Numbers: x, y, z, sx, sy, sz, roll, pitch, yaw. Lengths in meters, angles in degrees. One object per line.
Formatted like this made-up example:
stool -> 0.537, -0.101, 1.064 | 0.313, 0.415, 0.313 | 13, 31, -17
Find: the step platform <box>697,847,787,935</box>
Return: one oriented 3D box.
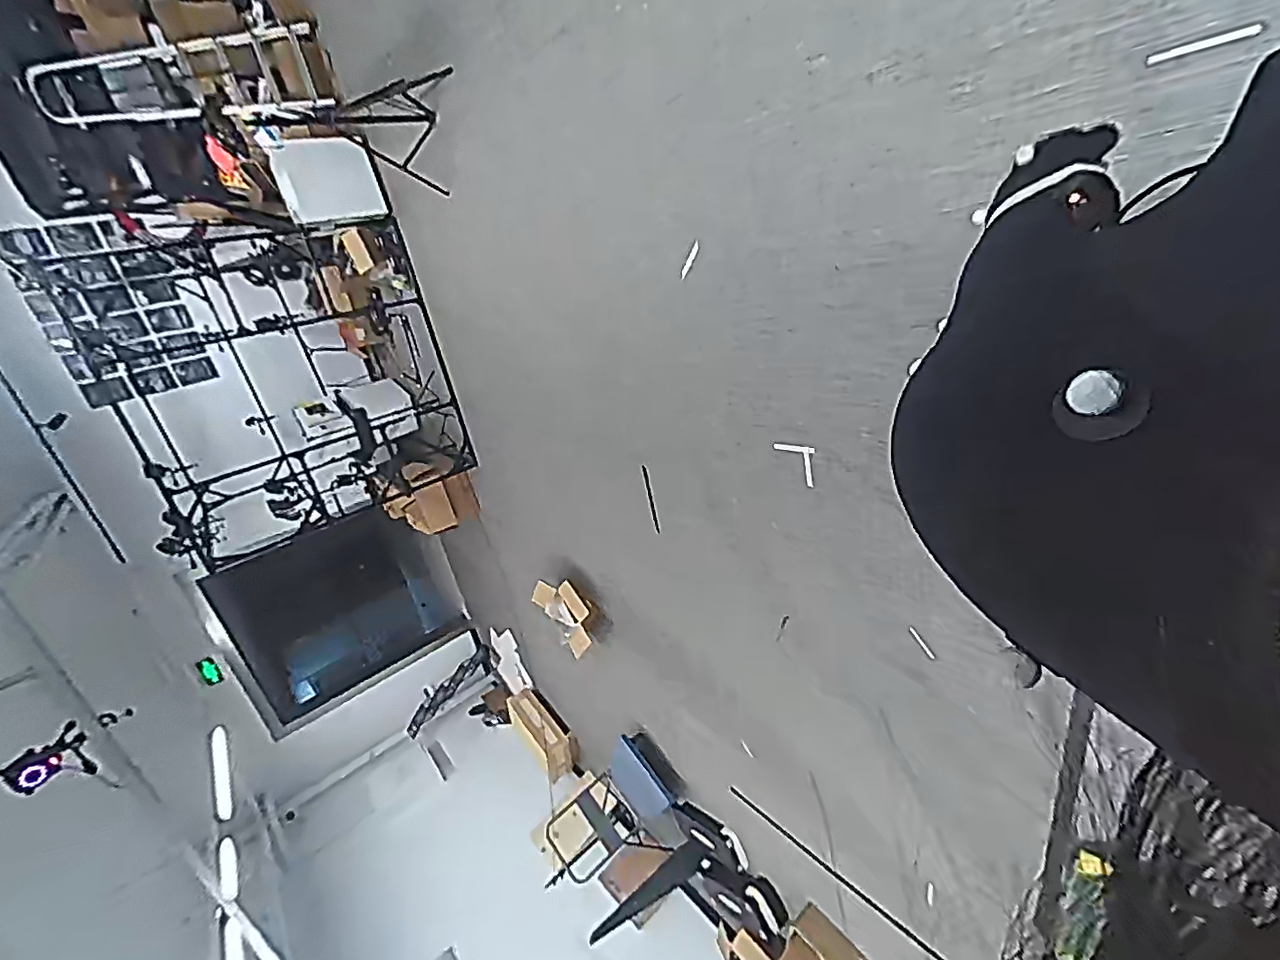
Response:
step platform -> 0.678, 2.813, 3.719 | 0.684, 0.204, 0.286 | -30, 87, 57
